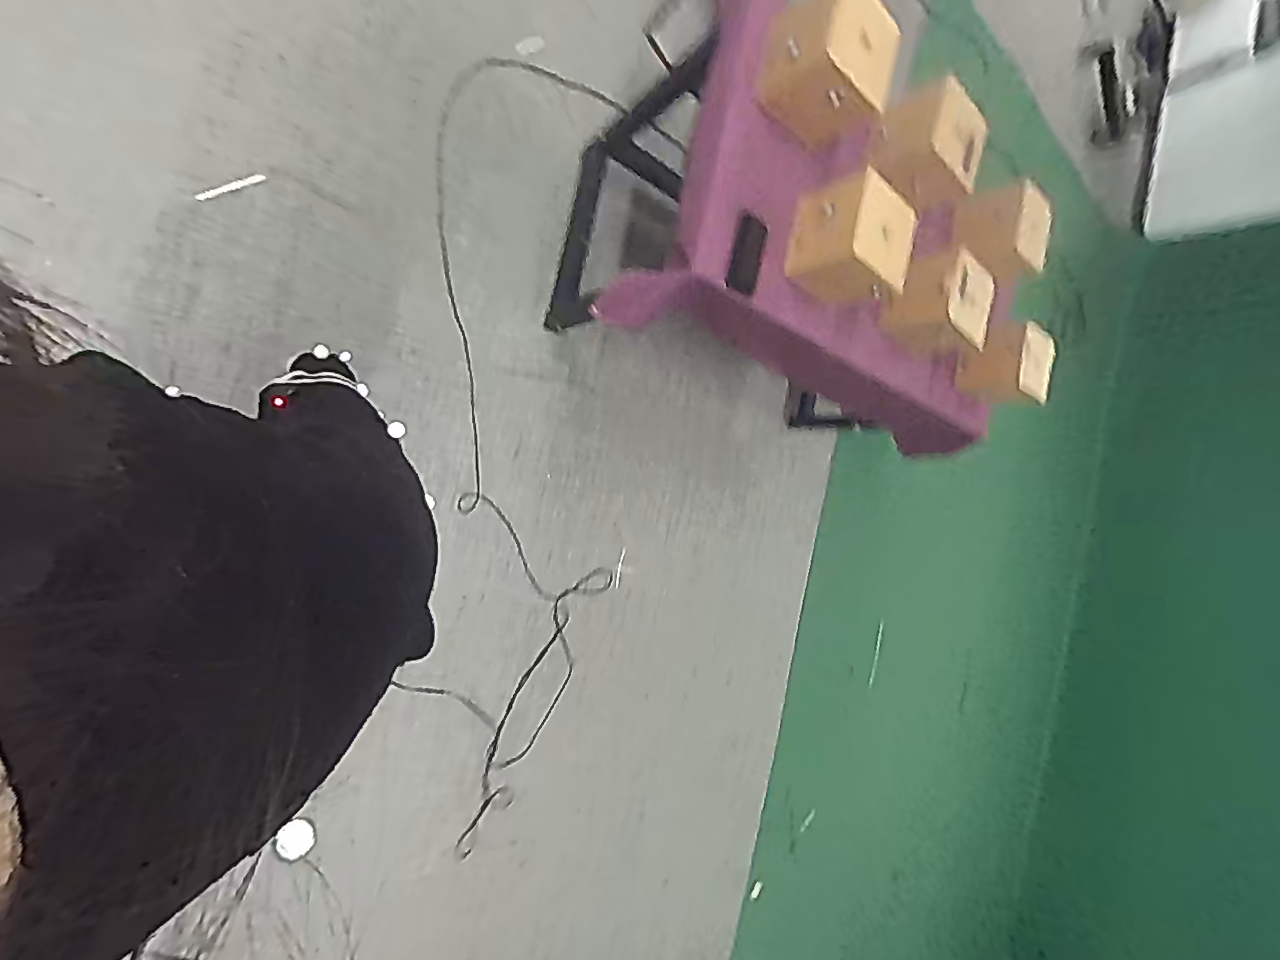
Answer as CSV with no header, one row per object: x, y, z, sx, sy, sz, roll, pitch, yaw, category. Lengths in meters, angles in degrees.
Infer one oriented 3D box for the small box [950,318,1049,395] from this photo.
1.011,-0.339,1.524,0.179,0.176,0.168,13,87,-35,small box

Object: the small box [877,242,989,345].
0.703,-0.437,1.306,0.179,0.176,0.168,18,85,-35,small box

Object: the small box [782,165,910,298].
0.417,-0.492,1.106,0.179,0.176,0.168,16,86,-35,small box

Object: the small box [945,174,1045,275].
0.946,-0.670,1.447,0.168,0.176,0.179,11,89,-34,small box
